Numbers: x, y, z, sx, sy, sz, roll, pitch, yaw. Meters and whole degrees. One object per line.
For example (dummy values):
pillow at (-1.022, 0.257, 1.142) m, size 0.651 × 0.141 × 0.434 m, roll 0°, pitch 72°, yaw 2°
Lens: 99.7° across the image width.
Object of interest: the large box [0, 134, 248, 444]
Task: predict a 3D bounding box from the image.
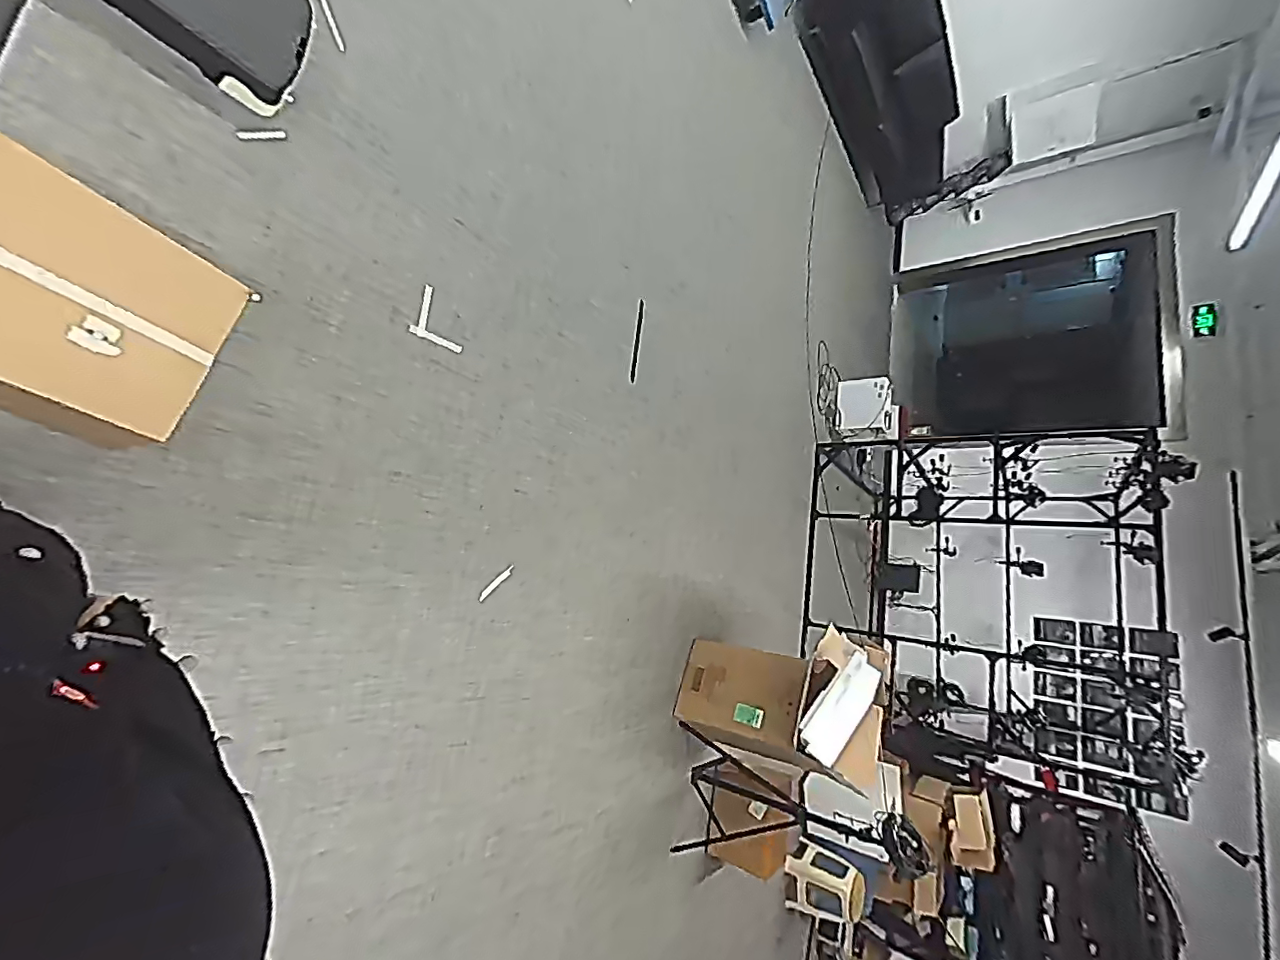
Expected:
large box at (-0.965, -0.283, 0.860) m, size 0.408 × 0.320 × 0.320 m, roll 38°, pitch 61°, yaw -49°
